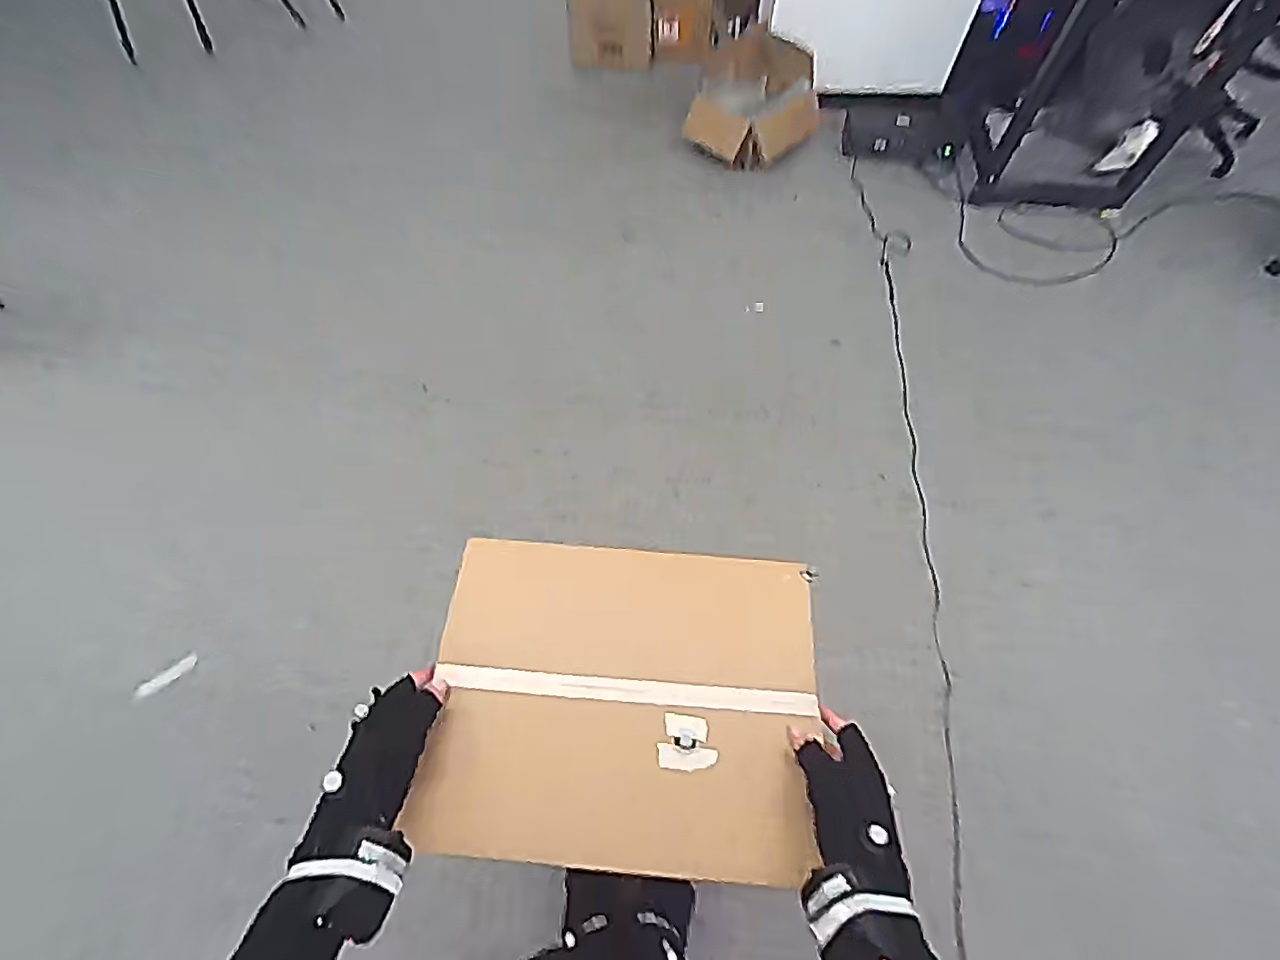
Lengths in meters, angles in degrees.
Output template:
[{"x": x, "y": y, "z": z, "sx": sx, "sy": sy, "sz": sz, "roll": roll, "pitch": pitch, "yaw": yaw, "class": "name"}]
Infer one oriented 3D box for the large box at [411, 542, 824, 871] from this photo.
[{"x": -0.018, "y": 0.293, "z": 0.712, "sx": 0.408, "sy": 0.320, "sz": 0.320, "roll": 5, "pitch": 62, "yaw": 1, "class": "large box"}]
